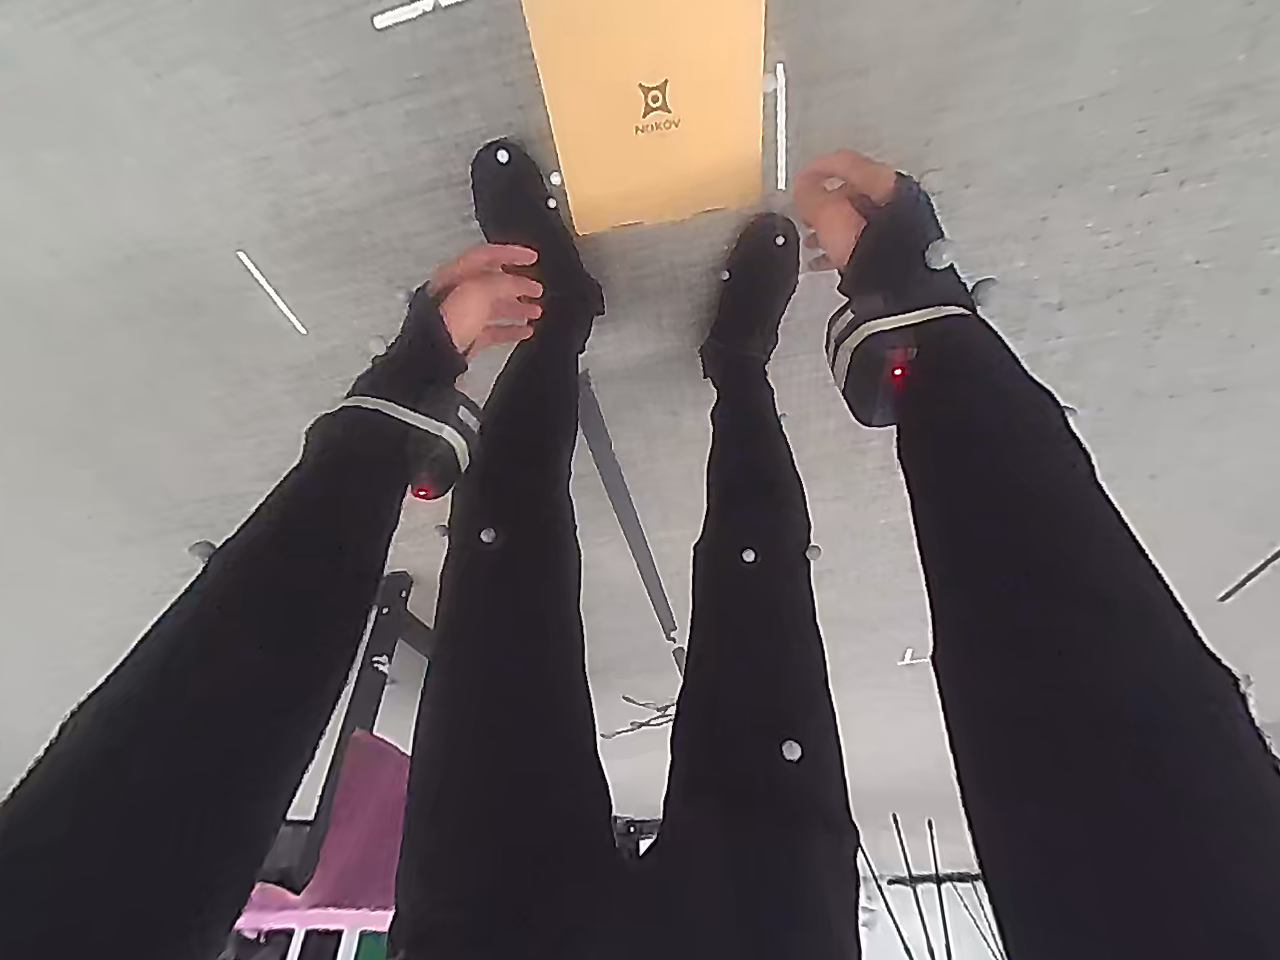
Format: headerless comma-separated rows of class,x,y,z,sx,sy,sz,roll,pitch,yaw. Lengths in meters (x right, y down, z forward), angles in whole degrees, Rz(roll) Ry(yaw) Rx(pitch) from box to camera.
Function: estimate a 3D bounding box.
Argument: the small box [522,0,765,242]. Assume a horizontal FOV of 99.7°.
small box,0.008,-0.338,0.463,0.168,0.176,0.179,-8,140,5
